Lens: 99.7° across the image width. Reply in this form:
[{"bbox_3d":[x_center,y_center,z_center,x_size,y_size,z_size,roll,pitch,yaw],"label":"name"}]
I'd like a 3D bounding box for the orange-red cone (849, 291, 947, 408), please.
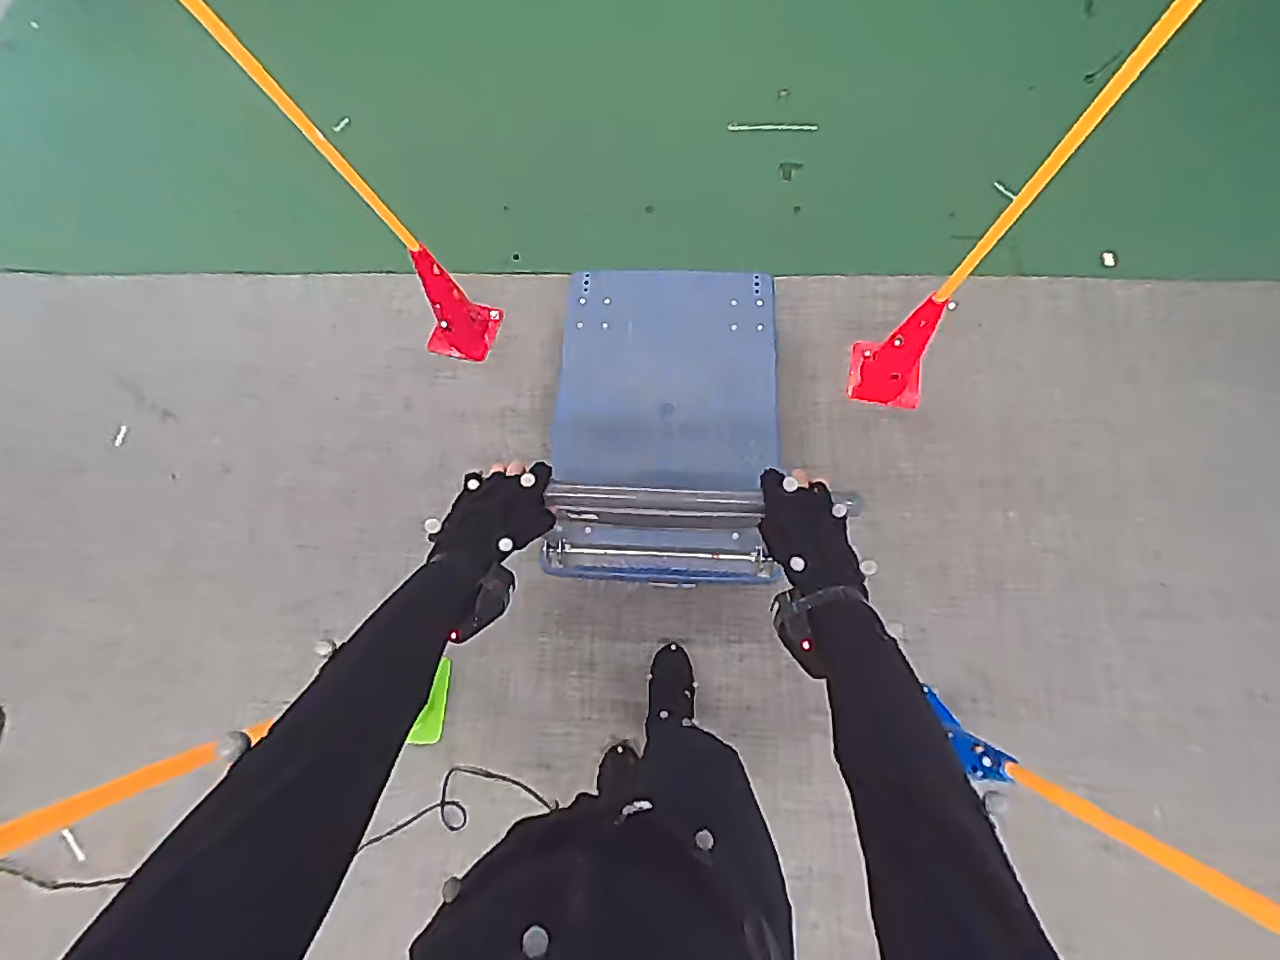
[{"bbox_3d":[0.707,-0.364,1.418,0.198,0.360,0.199,12,72,8],"label":"orange-red cone"}]
